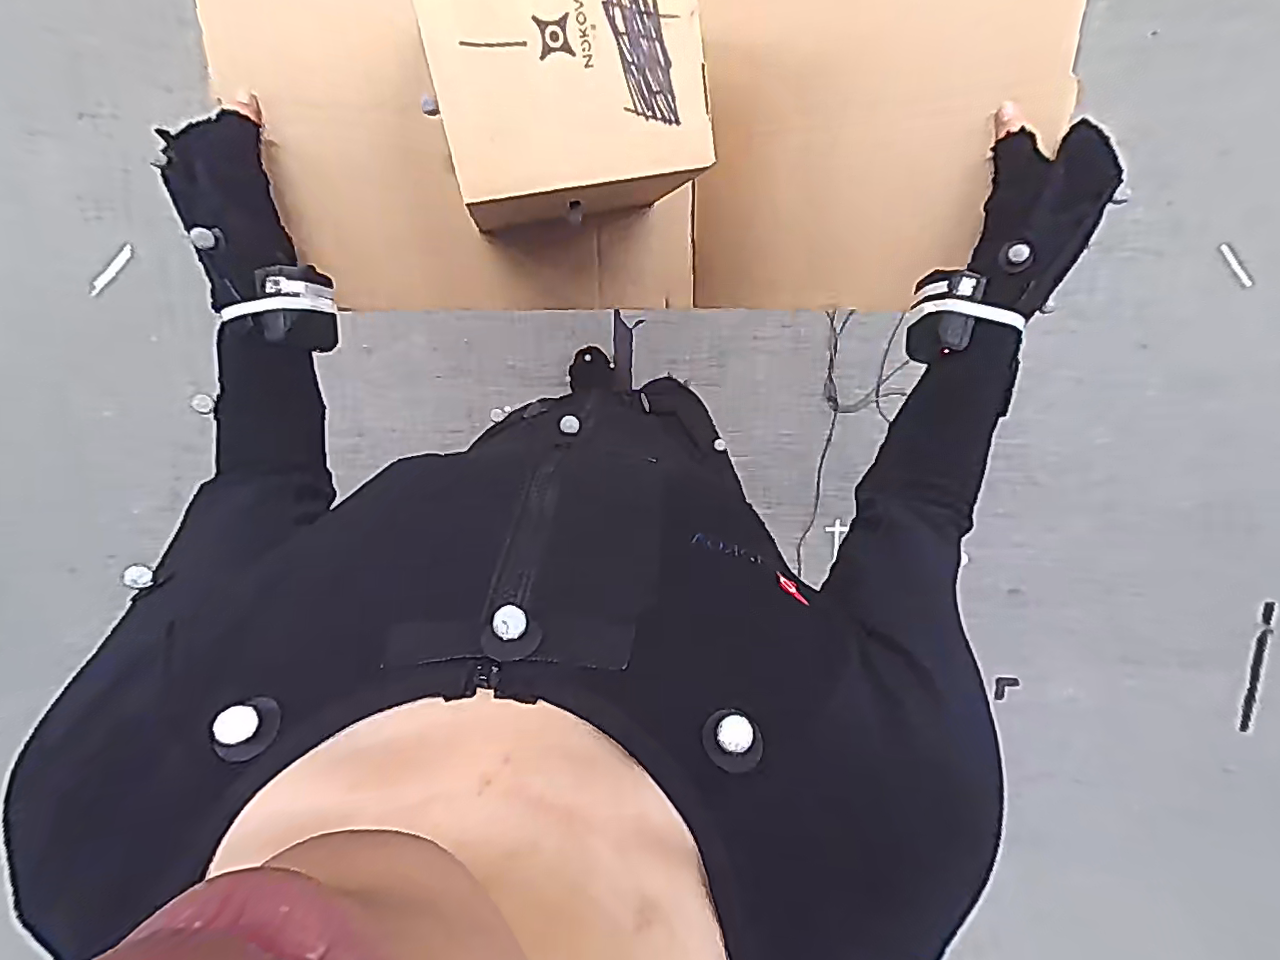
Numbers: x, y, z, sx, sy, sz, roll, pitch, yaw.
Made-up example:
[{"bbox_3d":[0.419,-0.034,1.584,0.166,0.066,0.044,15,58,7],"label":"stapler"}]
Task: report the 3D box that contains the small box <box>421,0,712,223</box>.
[{"bbox_3d":[-0.061,-0.306,0.418,0.179,0.176,0.168,-13,111,-8],"label":"small box"}]
